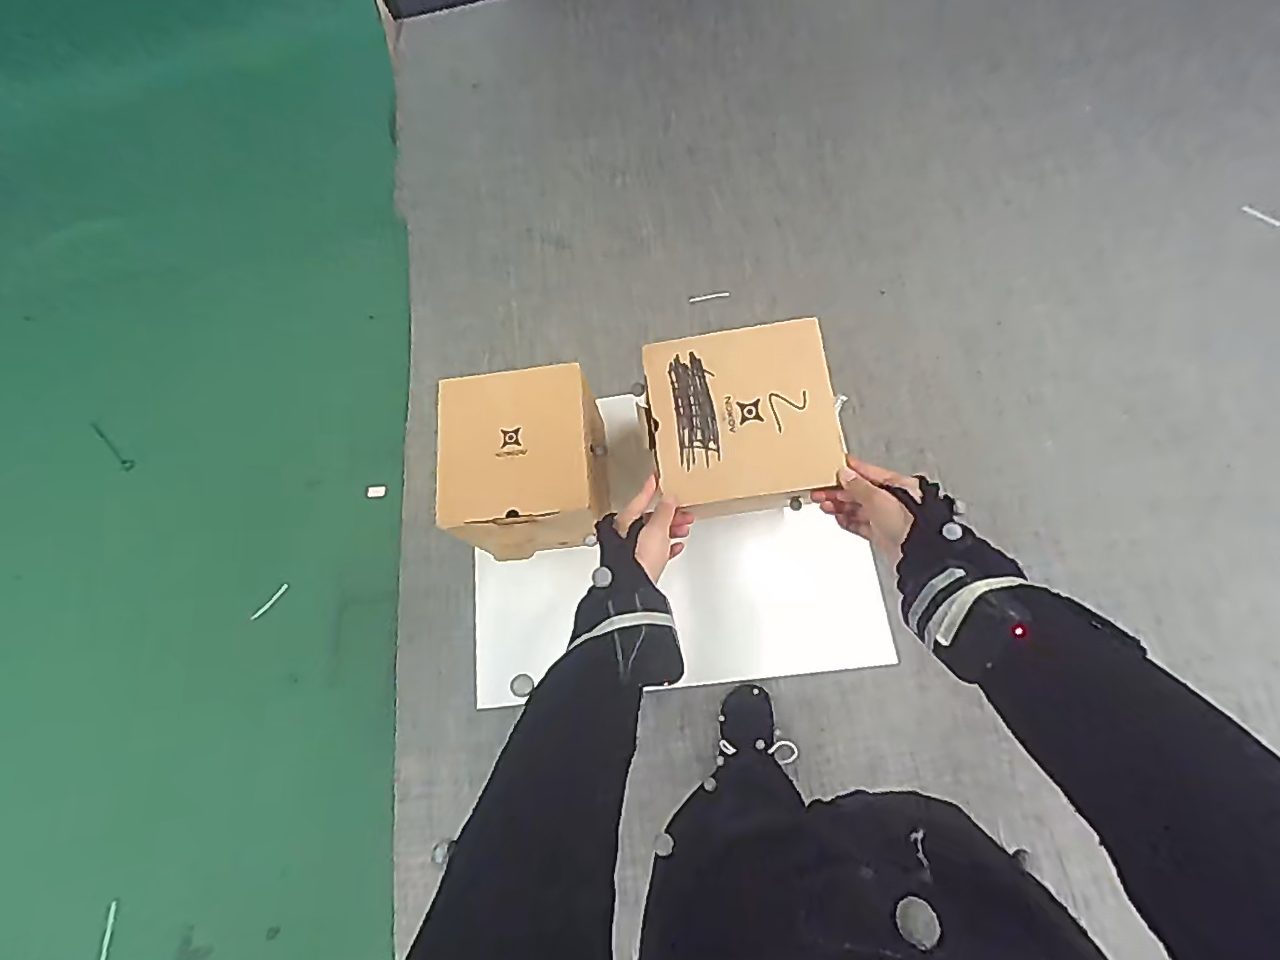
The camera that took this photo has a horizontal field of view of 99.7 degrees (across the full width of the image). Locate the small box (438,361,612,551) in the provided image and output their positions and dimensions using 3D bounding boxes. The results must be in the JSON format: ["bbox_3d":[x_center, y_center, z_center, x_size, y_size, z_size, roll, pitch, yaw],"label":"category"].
[{"bbox_3d":[-0.130,-0.020,0.659,0.168,0.176,0.179,-7,73,3],"label":"small box"}]
